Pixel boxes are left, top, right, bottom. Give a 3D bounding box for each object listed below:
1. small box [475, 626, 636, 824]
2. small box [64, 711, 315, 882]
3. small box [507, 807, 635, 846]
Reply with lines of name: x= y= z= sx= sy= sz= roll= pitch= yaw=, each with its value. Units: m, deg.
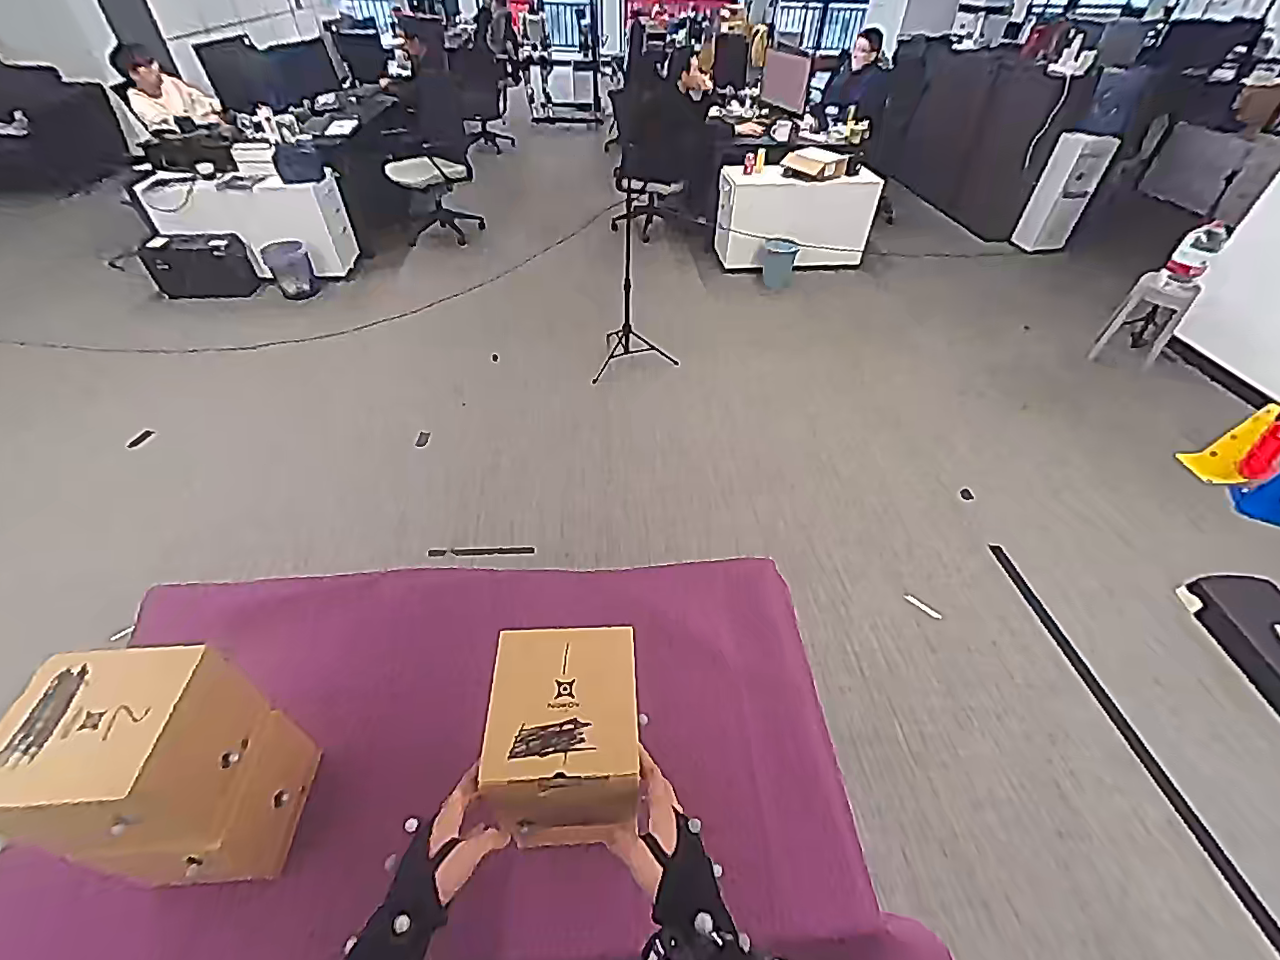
small box: x=-0.089 y=0.300 z=0.657 sx=0.168 sy=0.176 sz=0.179 roll=-1 pitch=43 yaw=-3
small box: x=-0.584 y=0.432 z=0.739 sx=0.179 sy=0.176 sz=0.168 roll=-1 pitch=44 yaw=-3
small box: x=-0.098 y=0.410 z=0.781 sx=0.179 sy=0.176 sz=0.168 roll=-1 pitch=44 yaw=-4
